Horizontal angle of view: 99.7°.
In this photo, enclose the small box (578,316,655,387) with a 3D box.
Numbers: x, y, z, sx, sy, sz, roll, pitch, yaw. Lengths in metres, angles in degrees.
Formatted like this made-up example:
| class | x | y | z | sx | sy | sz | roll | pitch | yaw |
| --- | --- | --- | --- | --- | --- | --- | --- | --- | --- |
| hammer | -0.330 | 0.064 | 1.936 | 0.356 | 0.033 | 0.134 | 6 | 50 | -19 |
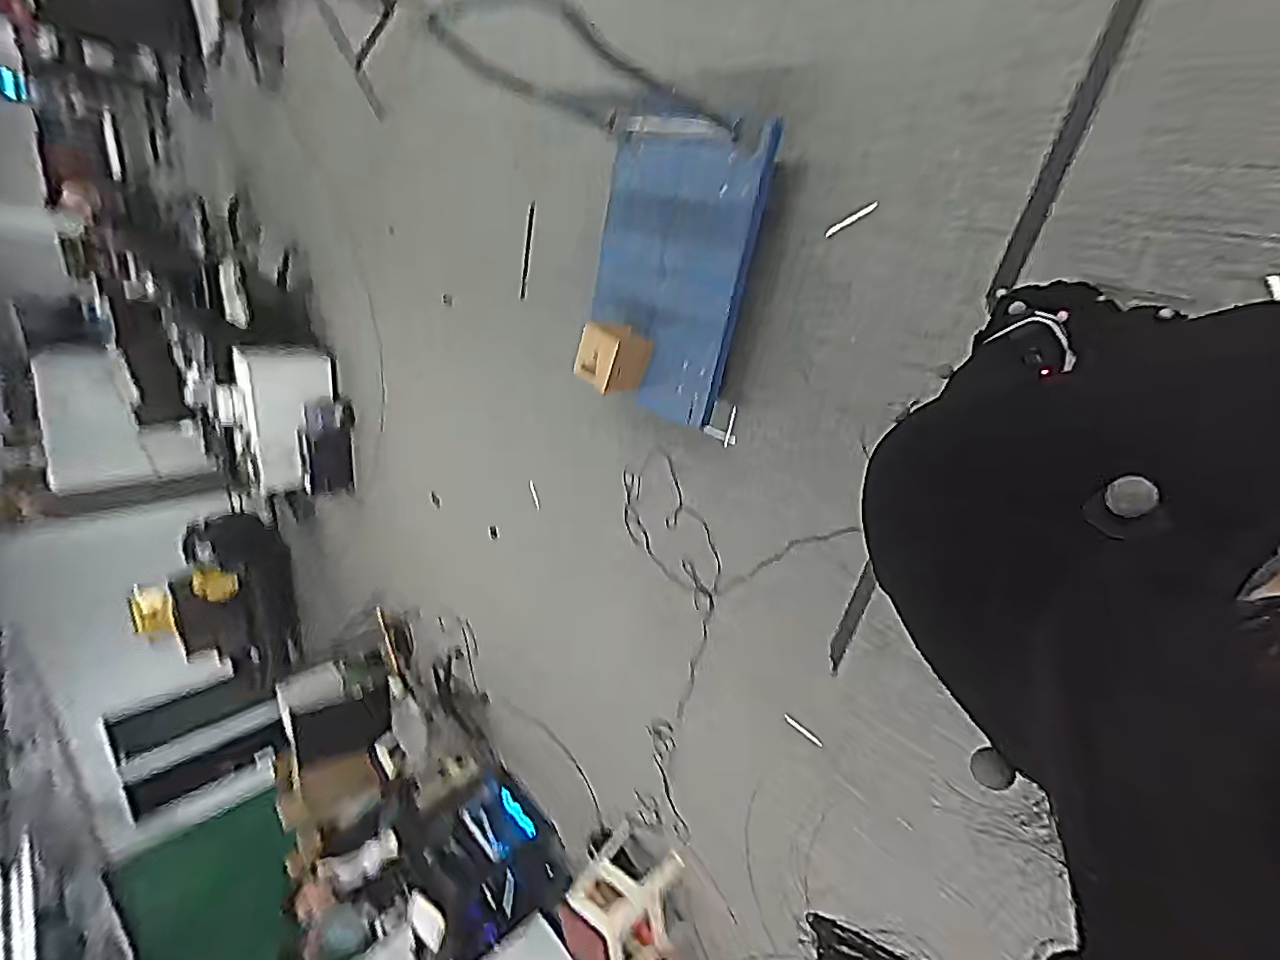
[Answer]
| class | x | y | z | sx | sy | sz | roll | pitch | yaw |
| --- | --- | --- | --- | --- | --- | --- | --- | --- | --- |
| small box | -0.076 | -0.425 | 1.789 | 0.168 | 0.176 | 0.179 | 40 | 125 | 30 |
